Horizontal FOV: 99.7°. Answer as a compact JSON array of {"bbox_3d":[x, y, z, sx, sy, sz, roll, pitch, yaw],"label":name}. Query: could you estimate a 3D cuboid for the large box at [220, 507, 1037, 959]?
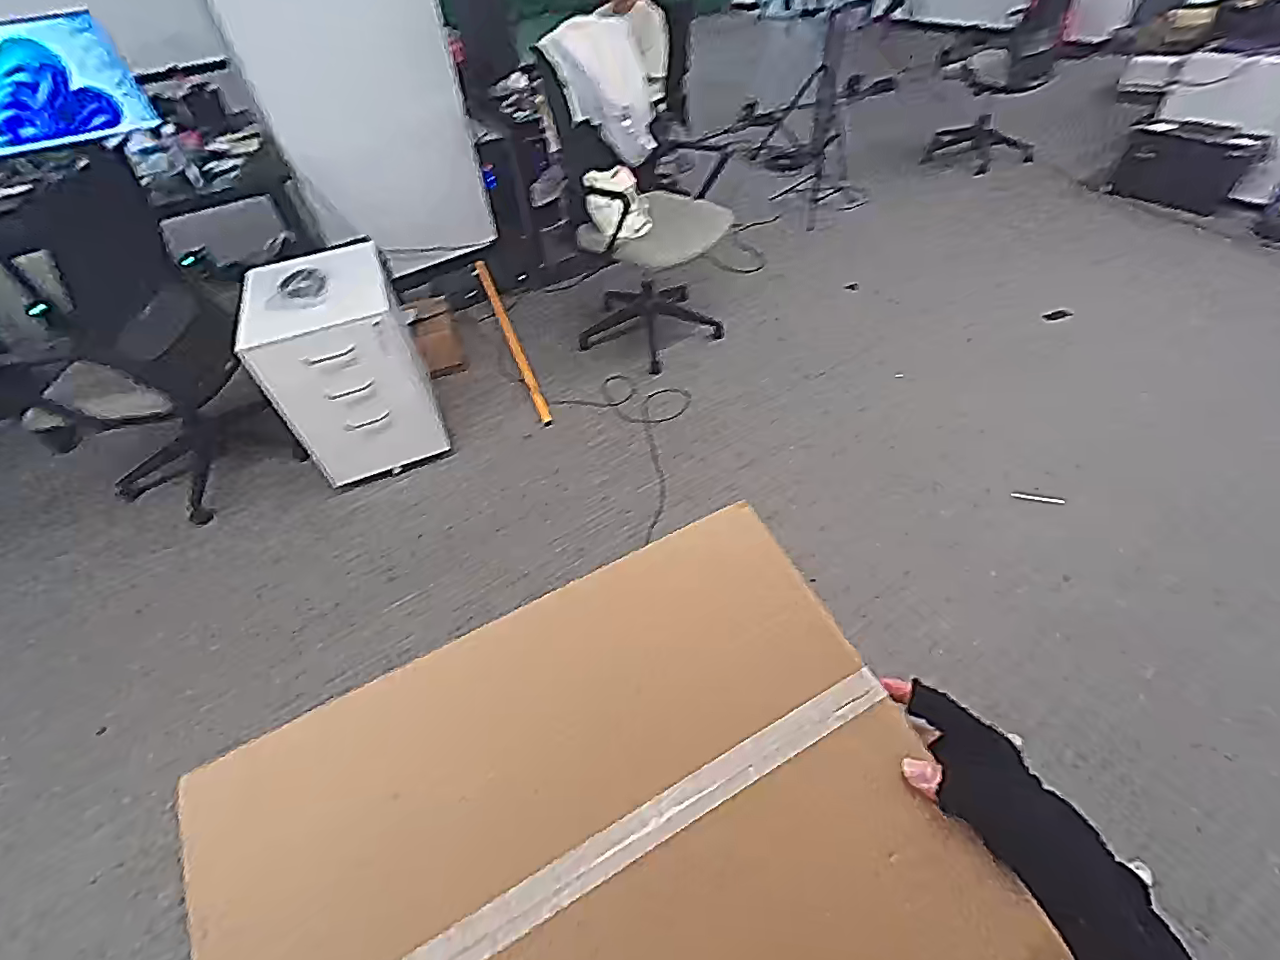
[{"bbox_3d":[-0.021,0.293,0.448,0.408,0.320,0.320,-25,64,-14],"label":"large box"}]
